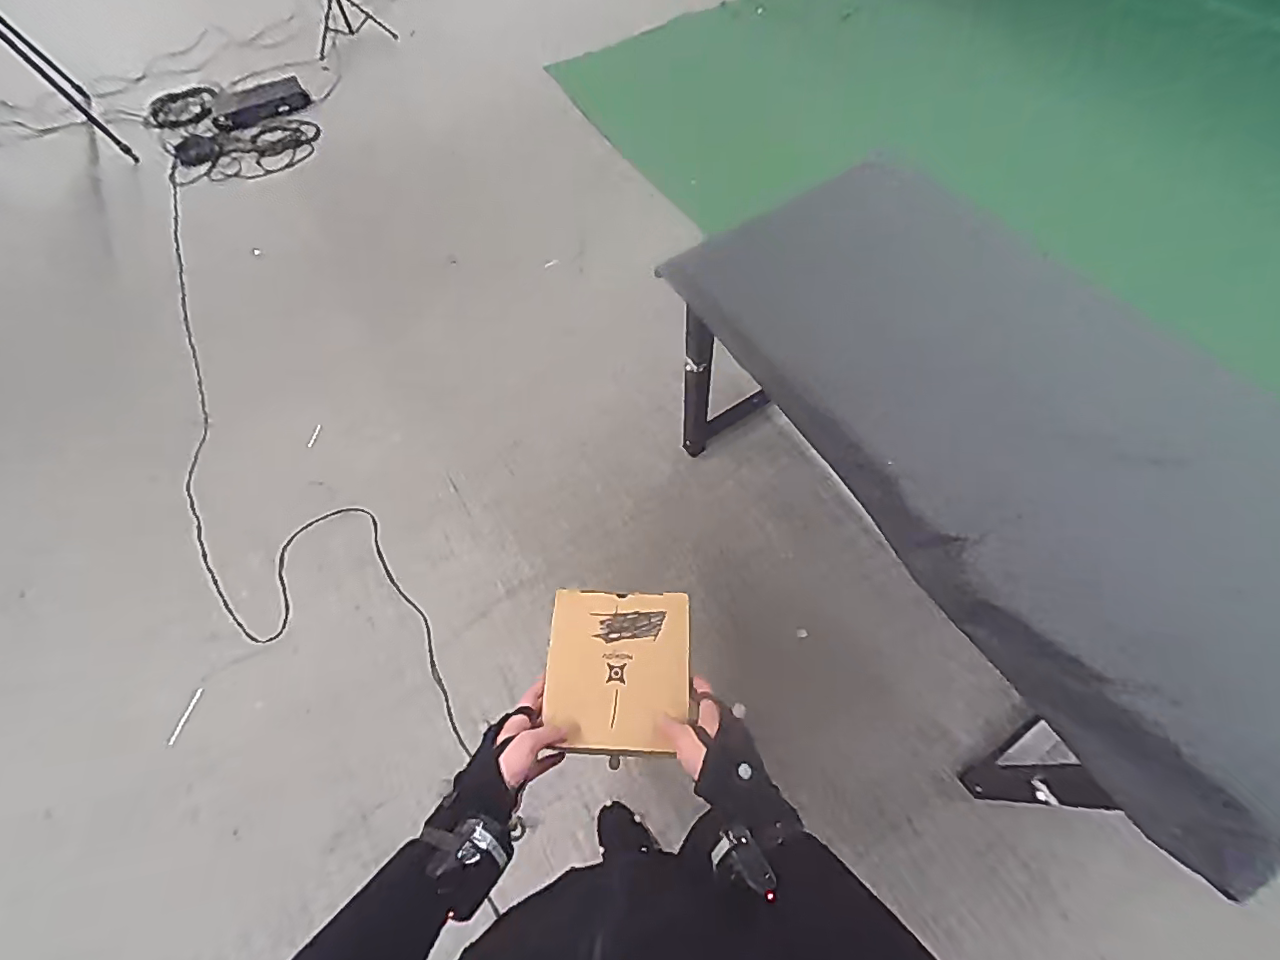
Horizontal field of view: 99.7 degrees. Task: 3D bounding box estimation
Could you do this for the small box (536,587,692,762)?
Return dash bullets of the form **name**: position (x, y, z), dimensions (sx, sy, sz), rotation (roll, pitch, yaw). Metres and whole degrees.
- **small box**: position (-0.022, 0.246, 0.674), dimensions (0.168, 0.176, 0.179), rotation (1, 61, 3)
